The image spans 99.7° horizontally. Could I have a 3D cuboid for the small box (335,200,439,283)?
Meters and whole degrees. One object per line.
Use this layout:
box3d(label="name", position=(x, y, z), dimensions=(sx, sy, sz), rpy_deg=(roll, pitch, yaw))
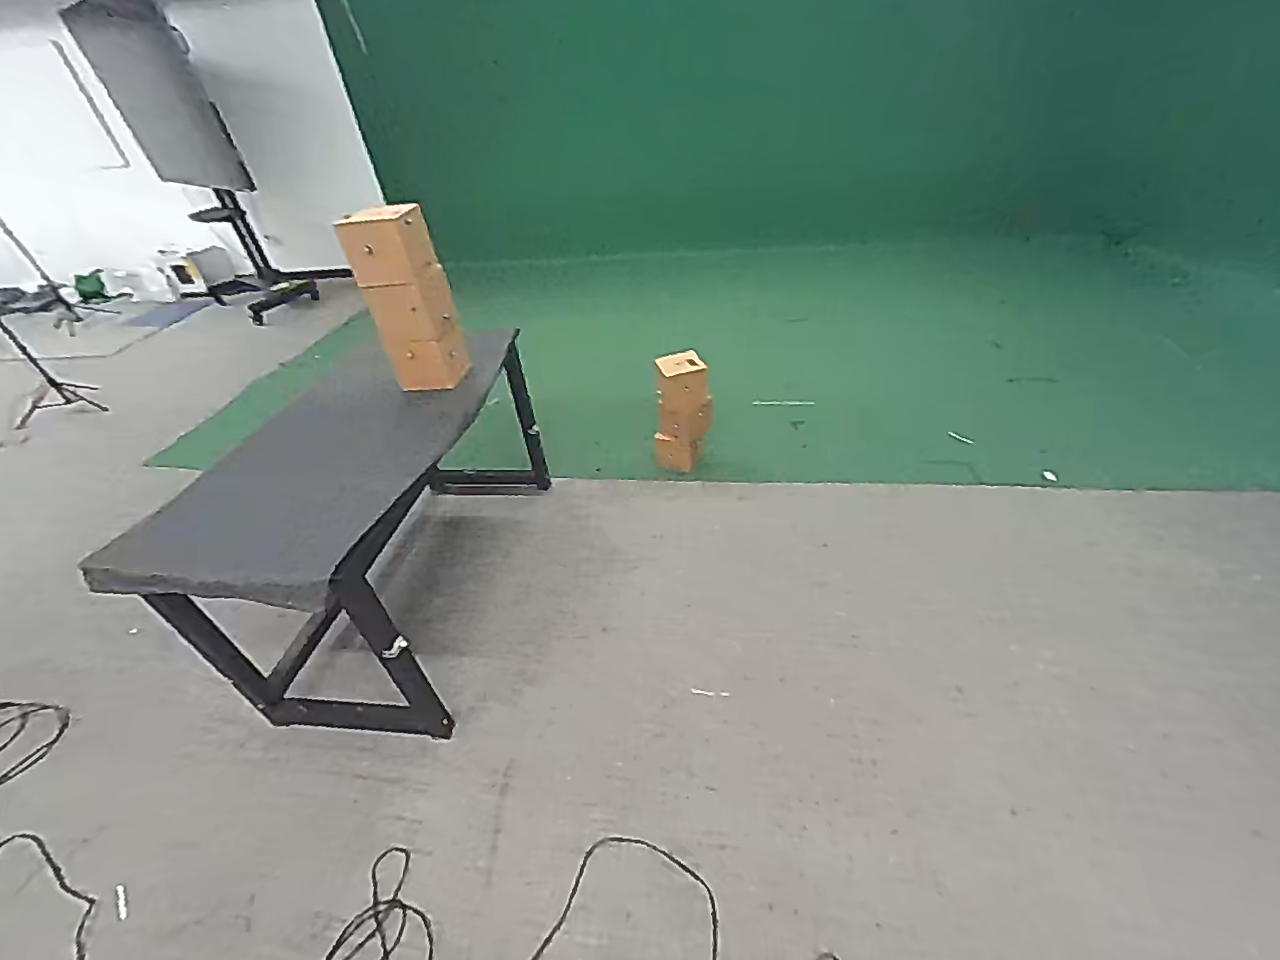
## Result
box3d(label="small box", position=(-0.689, -0.656, 1.495), dimensions=(0.179, 0.176, 0.168), rpy_deg=(-2, 40, 8))

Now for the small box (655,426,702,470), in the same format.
box3d(label="small box", position=(0.182, -0.168, 2.456), dimensions=(0.168, 0.176, 0.179), rpy_deg=(13, 43, 21))

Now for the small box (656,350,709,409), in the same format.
box3d(label="small box", position=(0.175, -0.416, 2.243), dimensions=(0.179, 0.176, 0.168), rpy_deg=(-14, 41, -8))

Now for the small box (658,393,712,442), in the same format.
box3d(label="small box", position=(0.198, -0.289, 2.345), dimensions=(0.168, 0.176, 0.179), rpy_deg=(31, 51, 35))

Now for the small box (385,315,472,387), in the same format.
box3d(label="small box", position=(-0.655, -0.404, 1.702), dimensions=(0.179, 0.176, 0.168), rpy_deg=(0, 39, 10))
